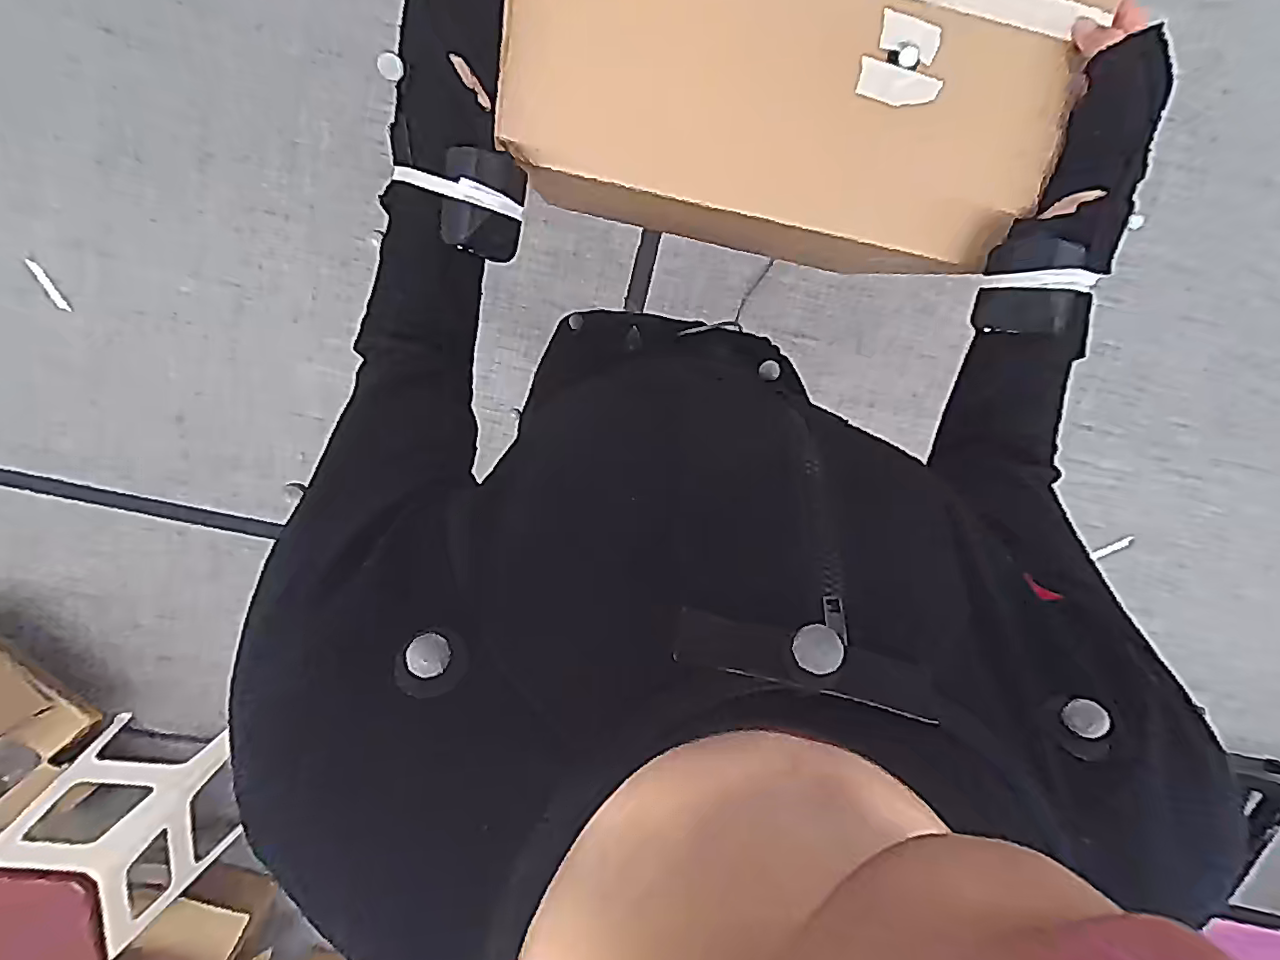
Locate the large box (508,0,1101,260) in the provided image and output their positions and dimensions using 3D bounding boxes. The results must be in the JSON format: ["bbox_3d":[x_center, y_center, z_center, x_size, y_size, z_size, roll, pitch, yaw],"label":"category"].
[{"bbox_3d":[0.114,-0.404,0.499,0.408,0.320,0.320,9,112,-7],"label":"large box"}]
